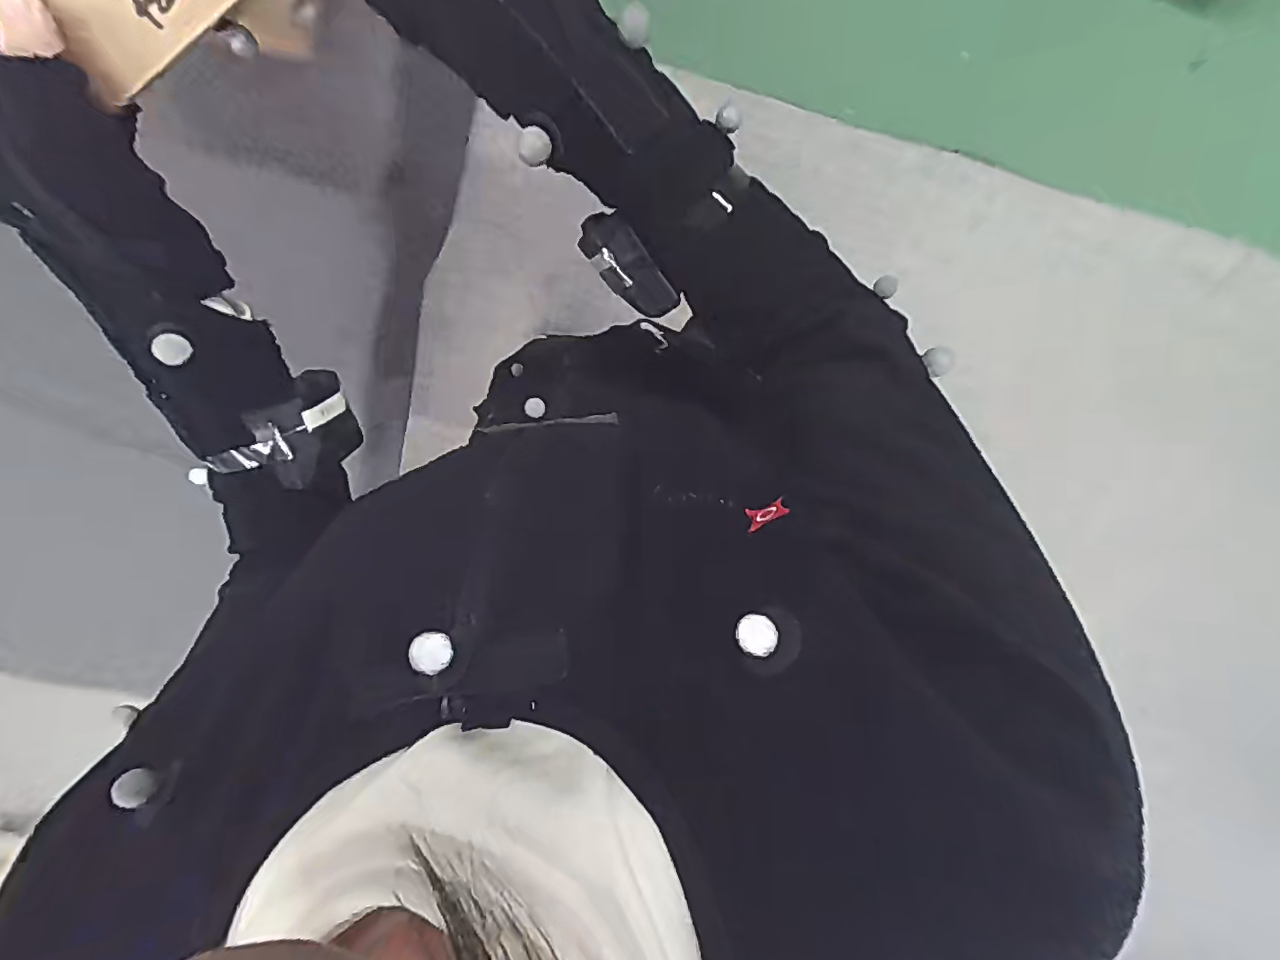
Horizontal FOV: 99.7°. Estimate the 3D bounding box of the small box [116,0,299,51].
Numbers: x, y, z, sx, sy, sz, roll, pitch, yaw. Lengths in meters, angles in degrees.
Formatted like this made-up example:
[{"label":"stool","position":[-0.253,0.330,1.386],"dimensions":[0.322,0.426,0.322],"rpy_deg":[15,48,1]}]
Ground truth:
[{"label":"small box","position":[-0.395,-0.476,0.424],"dimensions":[0.179,0.176,0.168],"rpy_deg":[15,112,-3]}]
